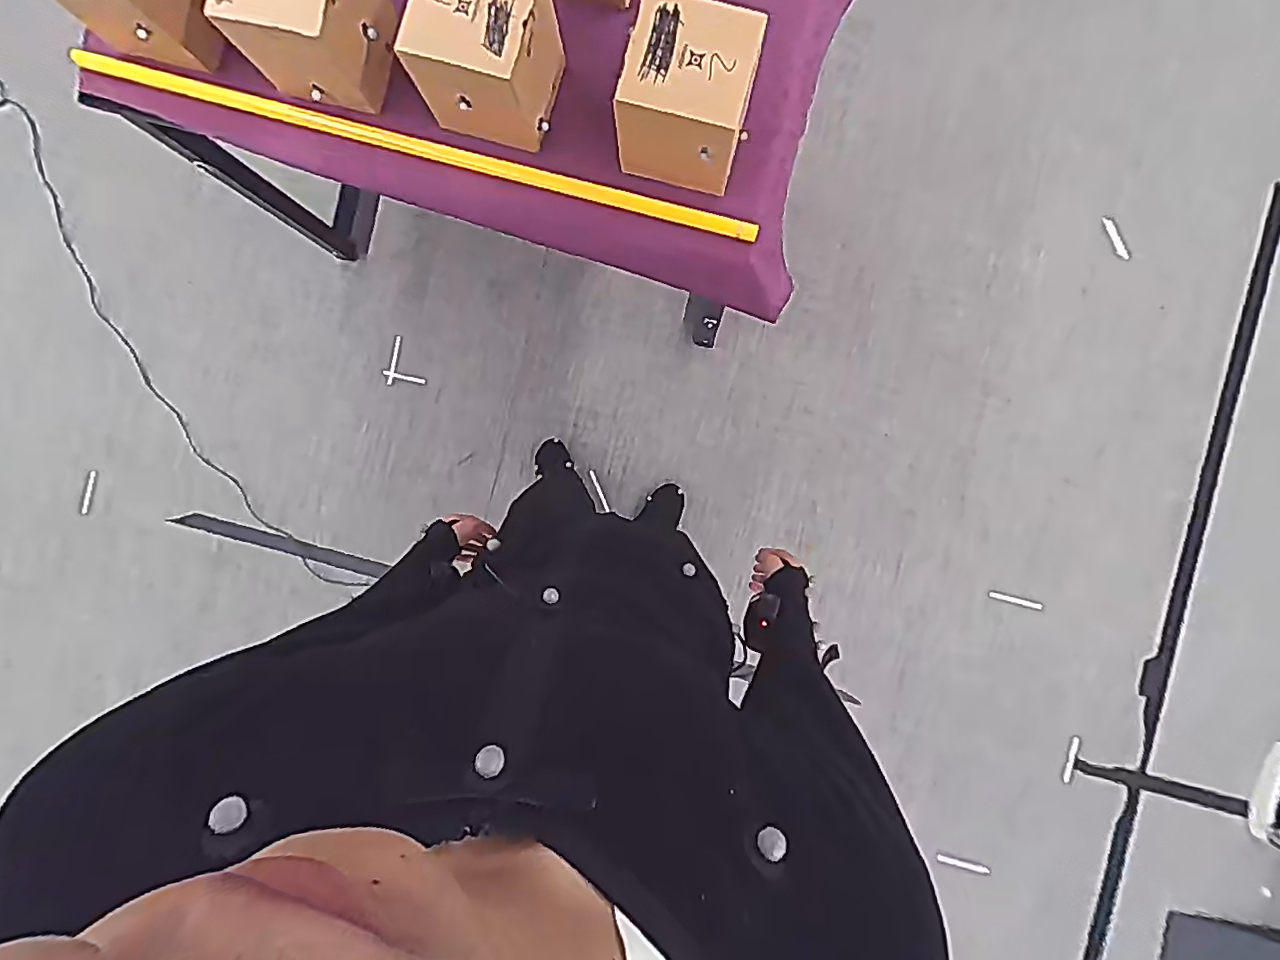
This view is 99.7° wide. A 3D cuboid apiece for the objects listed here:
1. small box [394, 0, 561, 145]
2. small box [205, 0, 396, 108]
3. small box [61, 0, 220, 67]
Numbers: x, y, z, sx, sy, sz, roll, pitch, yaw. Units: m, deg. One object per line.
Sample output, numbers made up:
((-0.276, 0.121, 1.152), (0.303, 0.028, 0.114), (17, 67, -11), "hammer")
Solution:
((-0.234, -0.653, 0.827), (0.179, 0.176, 0.168), (17, 90, 3), "small box")
((-0.510, -0.722, 0.839), (0.179, 0.176, 0.168), (13, 91, 1), "small box")
((-0.795, -0.799, 0.849), (0.179, 0.176, 0.168), (14, 91, 0), "small box")
